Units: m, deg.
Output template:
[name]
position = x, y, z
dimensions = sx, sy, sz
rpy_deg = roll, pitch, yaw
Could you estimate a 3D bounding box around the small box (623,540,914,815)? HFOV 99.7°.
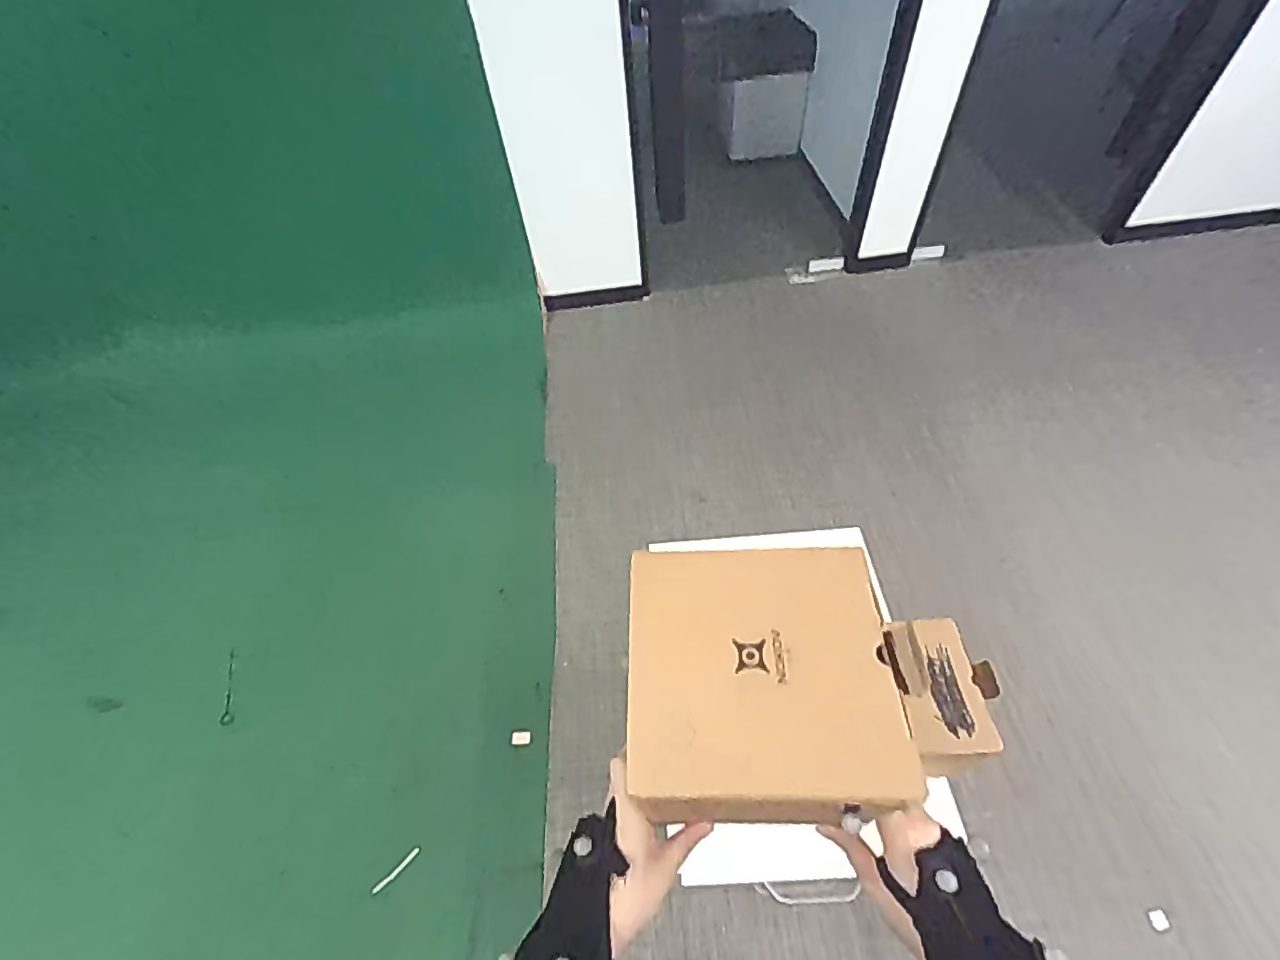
[small box]
position = 0.084, 0.162, 0.434
dimensions = 0.179, 0.176, 0.168
rpy_deg = -1, 52, 4
